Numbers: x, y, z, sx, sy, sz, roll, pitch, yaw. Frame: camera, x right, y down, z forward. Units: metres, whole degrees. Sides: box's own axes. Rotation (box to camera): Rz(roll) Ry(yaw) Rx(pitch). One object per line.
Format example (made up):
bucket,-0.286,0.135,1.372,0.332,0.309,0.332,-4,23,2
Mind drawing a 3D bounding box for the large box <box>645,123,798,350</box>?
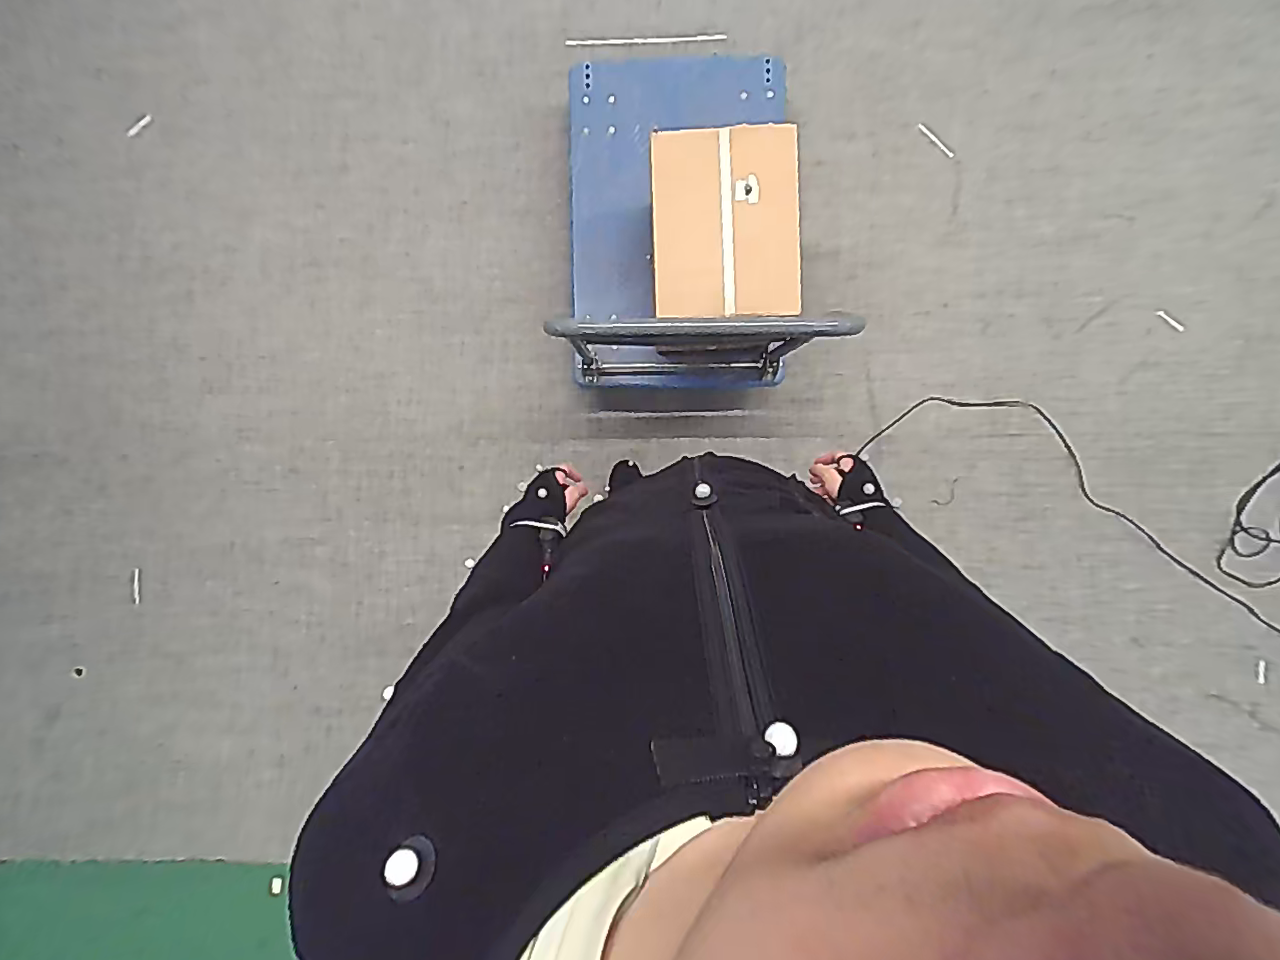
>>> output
large box,0.177,-0.550,1.295,0.320,0.320,0.408,-2,91,1
